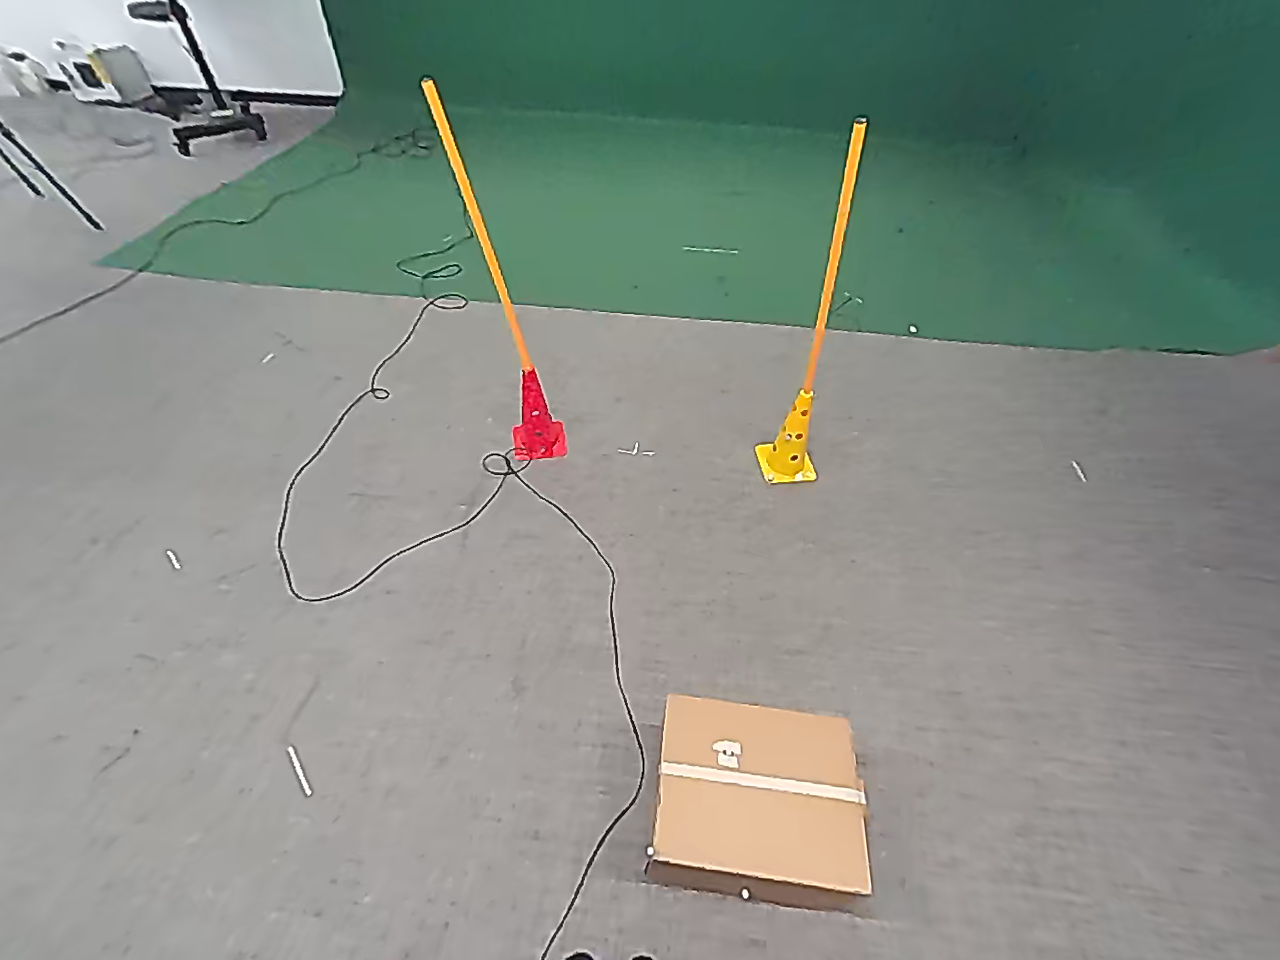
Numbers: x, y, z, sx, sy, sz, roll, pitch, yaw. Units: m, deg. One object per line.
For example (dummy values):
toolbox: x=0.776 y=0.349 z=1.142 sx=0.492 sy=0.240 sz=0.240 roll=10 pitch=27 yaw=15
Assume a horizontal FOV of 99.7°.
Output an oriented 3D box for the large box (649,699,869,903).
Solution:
large box: x=0.238 y=0.718 z=1.204 sx=0.408 sy=0.320 sz=0.320 roll=6 pitch=47 yaw=4
